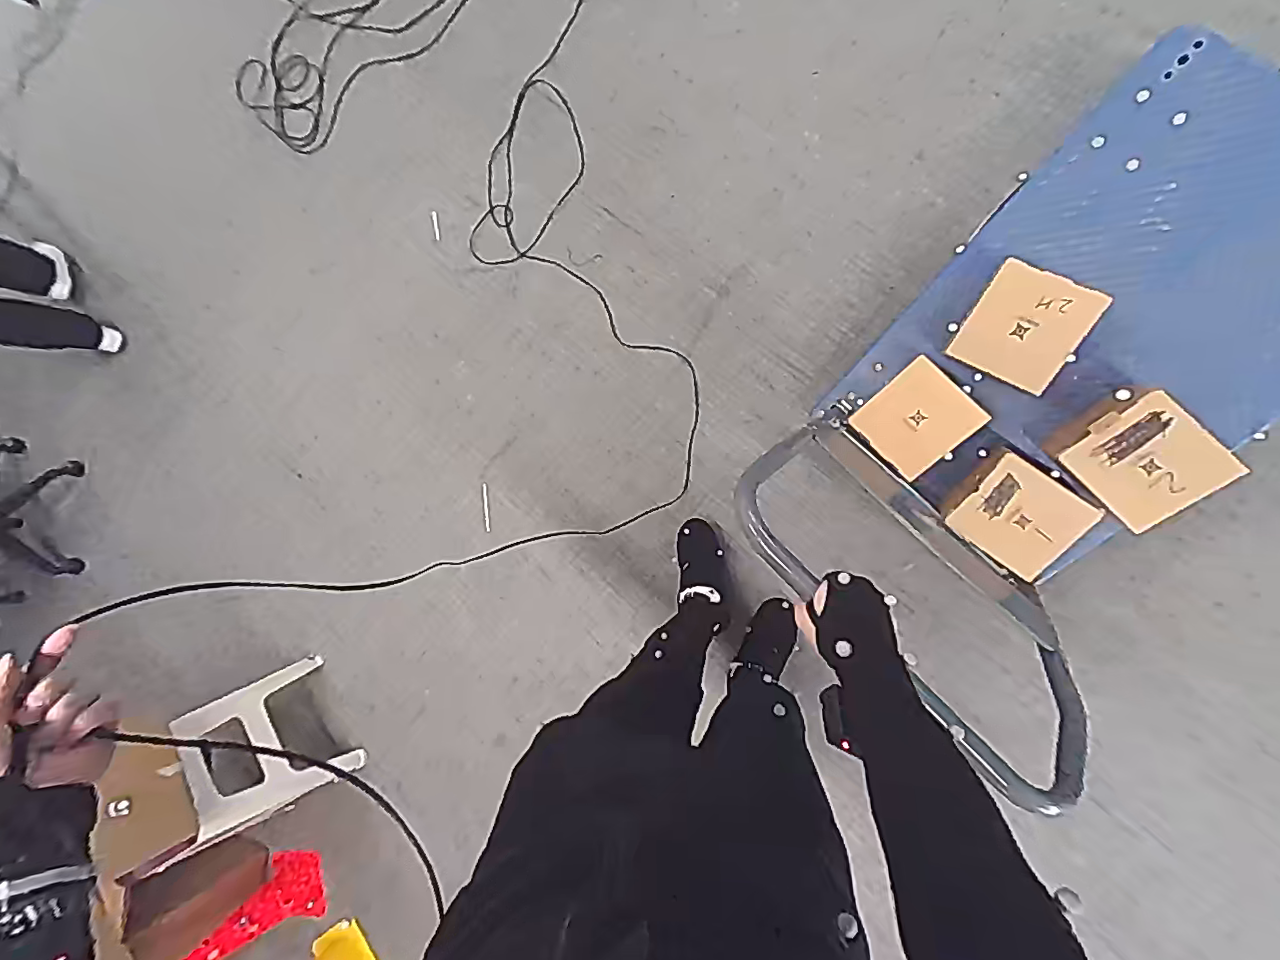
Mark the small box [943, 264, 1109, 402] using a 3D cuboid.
[{"bbox_3d":[0.671,-0.257,0.968,0.168,0.176,0.179,33,112,17],"label":"small box"}]
